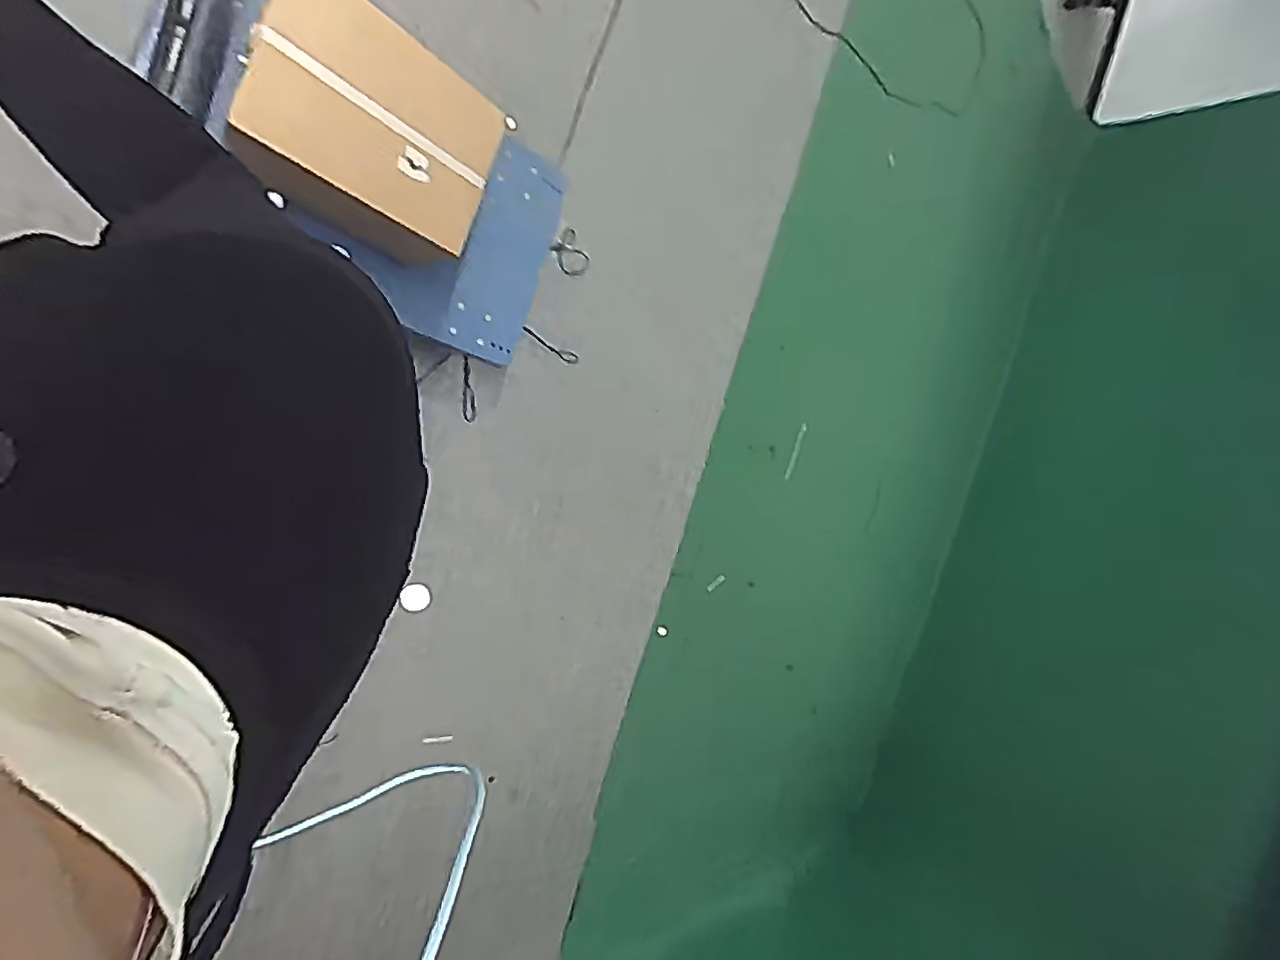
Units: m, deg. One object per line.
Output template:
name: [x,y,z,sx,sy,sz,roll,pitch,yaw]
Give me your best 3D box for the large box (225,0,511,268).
large box: [-0.551,-0.683,1.104,0.408,0.320,0.320,21,90,-43]
